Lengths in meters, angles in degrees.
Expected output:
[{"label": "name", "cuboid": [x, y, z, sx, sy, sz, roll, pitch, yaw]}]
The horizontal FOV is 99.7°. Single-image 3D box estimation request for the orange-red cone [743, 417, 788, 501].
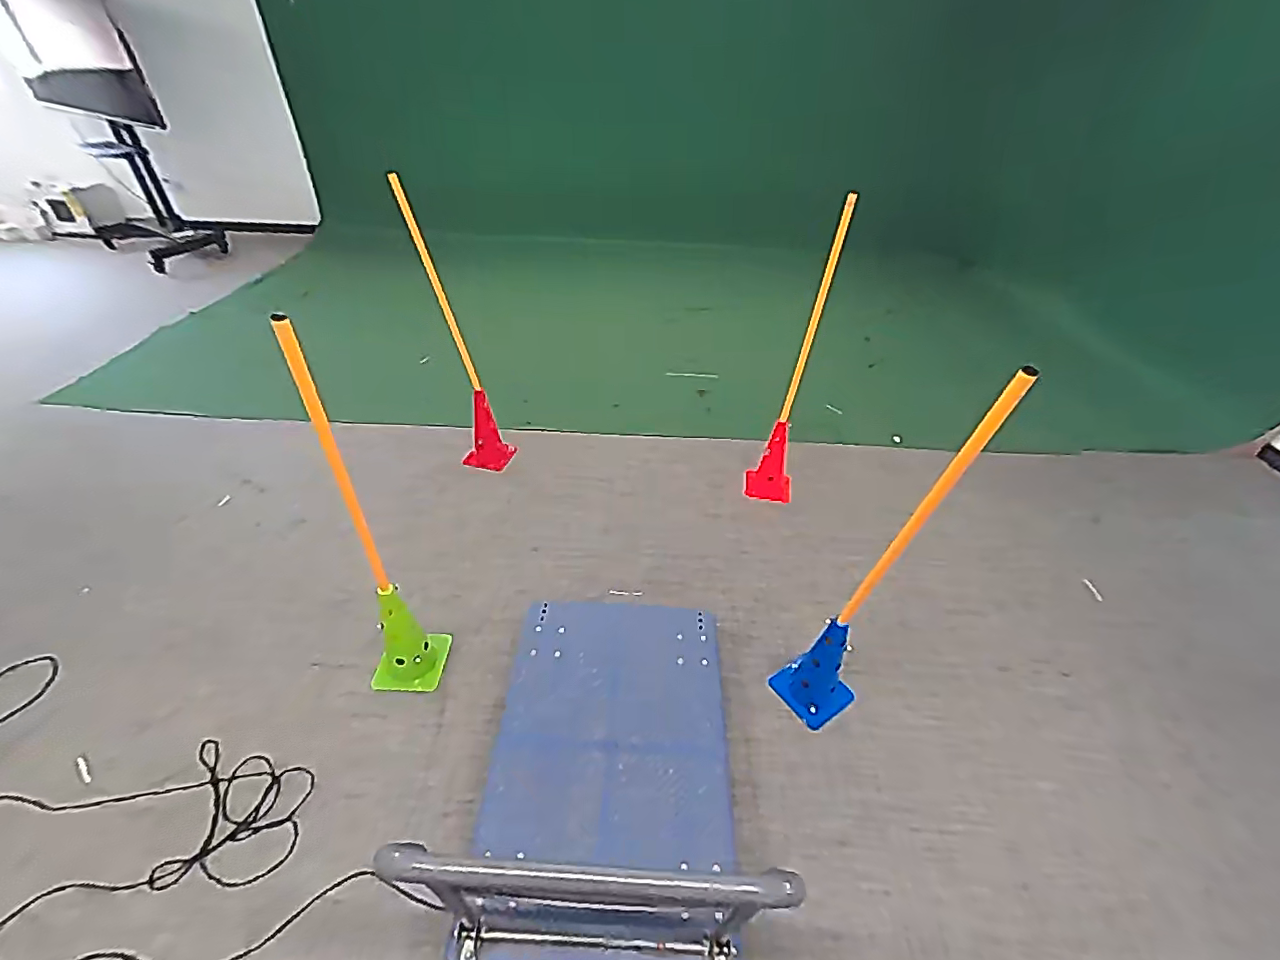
[{"label": "orange-red cone", "cuboid": [0.571, -0.109, 2.326, 0.198, 0.360, 0.199, 9, 40, 9]}]
